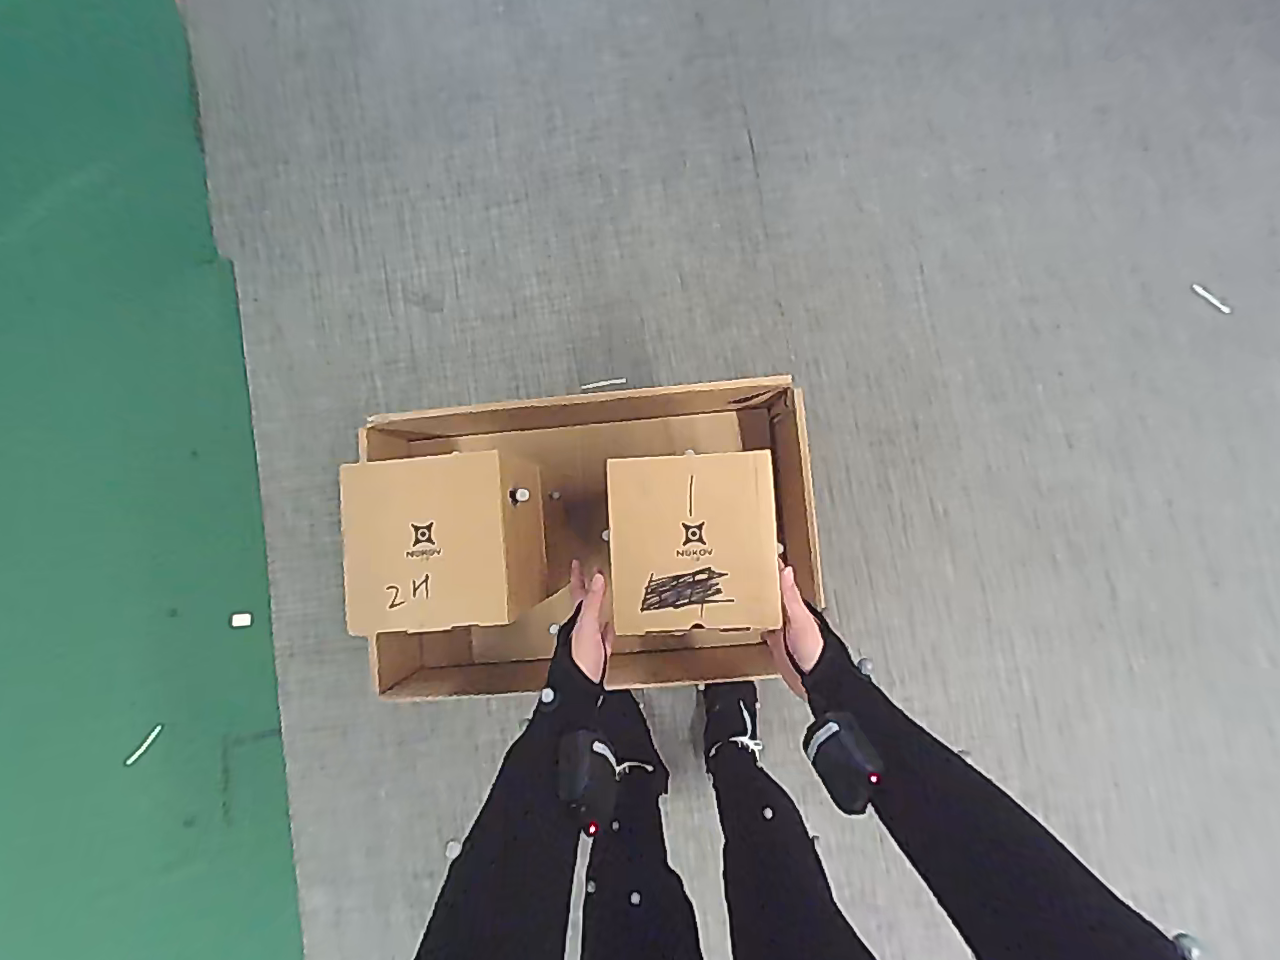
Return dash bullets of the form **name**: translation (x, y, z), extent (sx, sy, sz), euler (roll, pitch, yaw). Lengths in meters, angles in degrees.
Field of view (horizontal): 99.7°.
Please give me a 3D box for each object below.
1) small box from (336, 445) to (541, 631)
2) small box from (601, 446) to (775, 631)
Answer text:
- **small box**: translation (-0.215, 0.063, 0.613), extent (0.168, 0.176, 0.179), euler (-5, 86, 3)
- **small box**: translation (0.050, 0.061, 0.602), extent (0.168, 0.176, 0.179), euler (-3, 86, 2)
